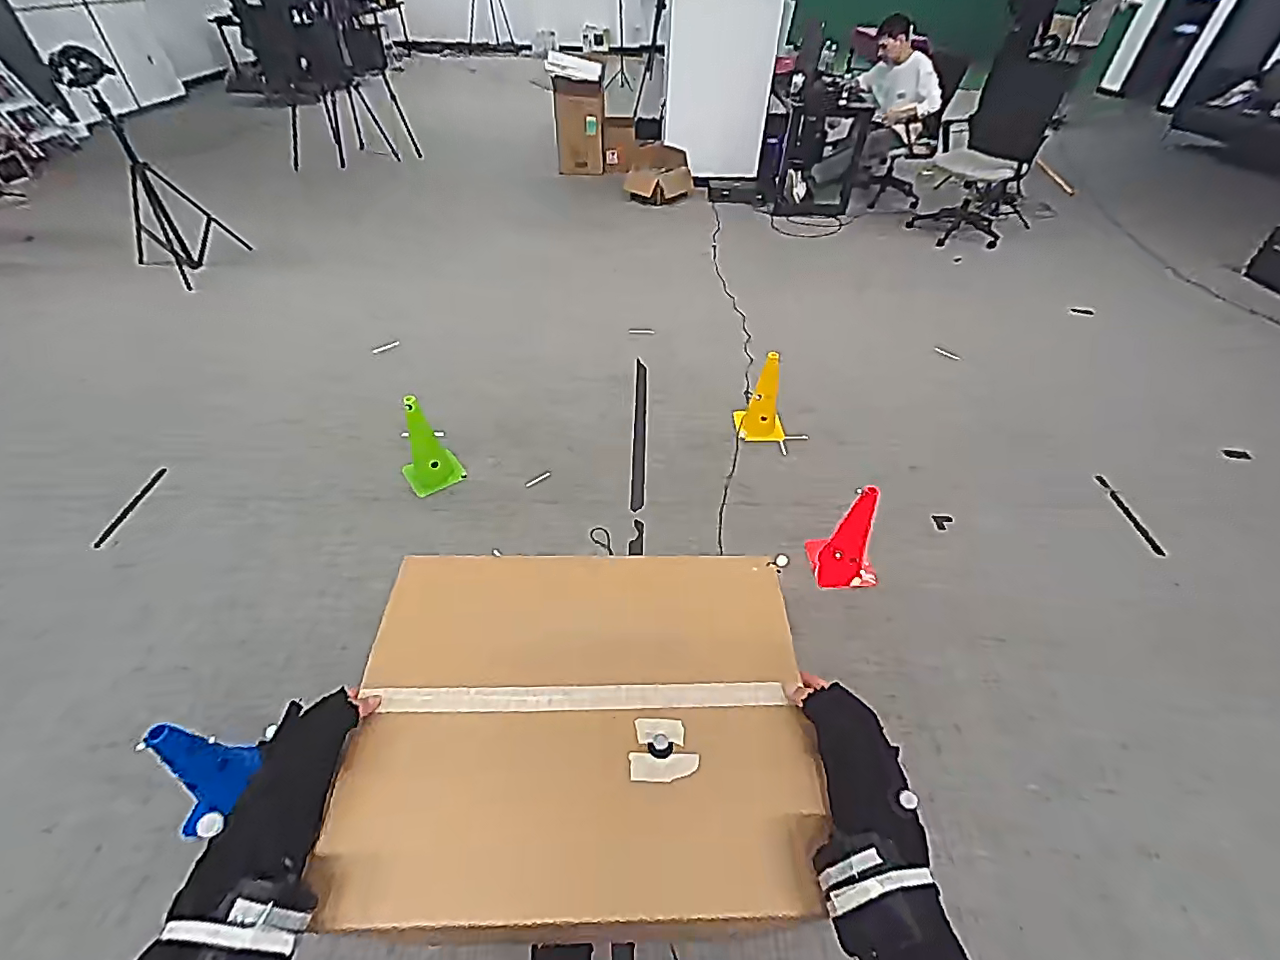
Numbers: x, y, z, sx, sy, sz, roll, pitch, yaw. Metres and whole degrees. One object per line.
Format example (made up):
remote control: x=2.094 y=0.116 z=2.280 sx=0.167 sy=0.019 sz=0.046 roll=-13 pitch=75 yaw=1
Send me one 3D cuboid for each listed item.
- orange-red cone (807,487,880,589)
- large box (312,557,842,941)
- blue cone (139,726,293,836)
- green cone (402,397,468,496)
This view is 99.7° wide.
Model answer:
orange-red cone: x=0.683 y=0.160 z=1.713 sx=0.198 sy=0.360 sz=0.199 roll=0 pitch=43 yaw=-3
large box: x=-0.054 y=0.300 z=0.609 sx=0.408 sy=0.320 sz=0.320 roll=1 pitch=48 yaw=-3
blue cone: x=-0.963 y=0.637 z=1.198 sx=0.192 sy=0.380 sz=0.193 roll=3 pitch=44 yaw=3
green cone: x=-0.796 y=-0.153 z=1.991 sx=0.202 sy=0.368 sz=0.200 roll=-28 pitch=51 yaw=-25
